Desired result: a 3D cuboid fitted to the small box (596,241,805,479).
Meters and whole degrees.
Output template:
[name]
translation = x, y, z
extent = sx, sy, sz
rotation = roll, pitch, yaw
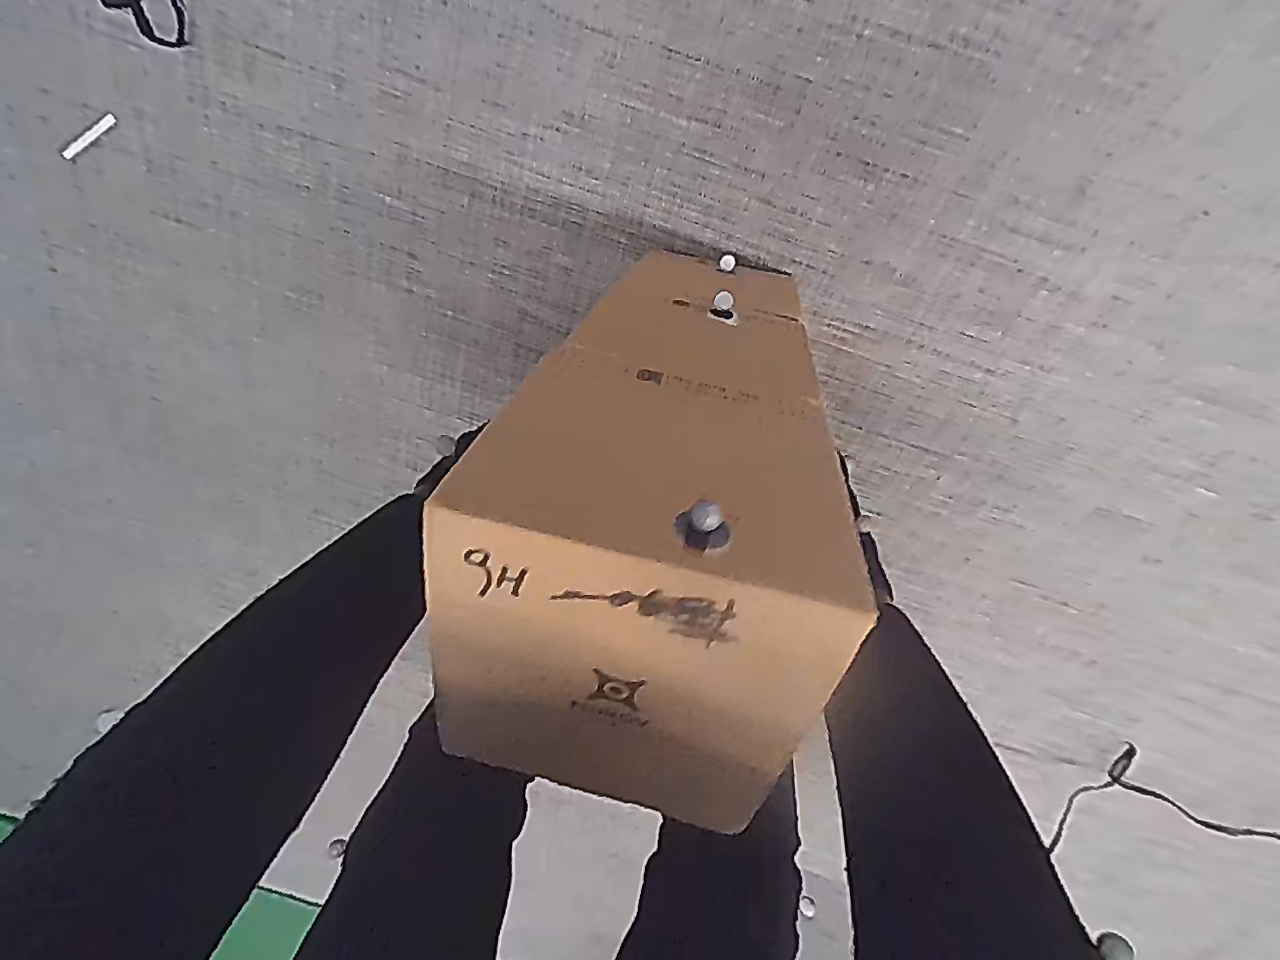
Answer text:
[small box]
translation = 0.062, -0.132, 0.567
extent = 0.168, 0.176, 0.179
rotation = 14, 124, 4
